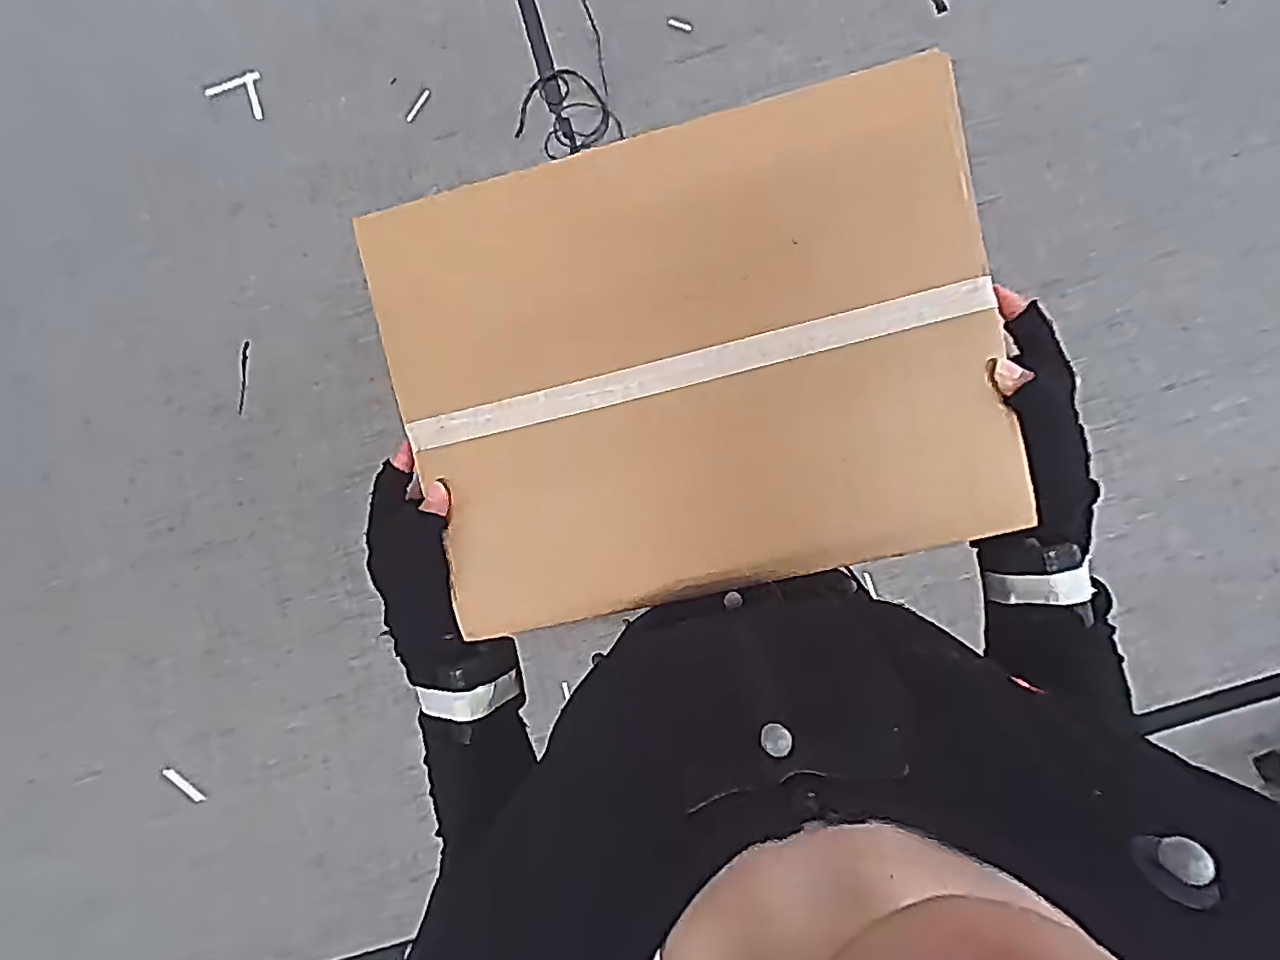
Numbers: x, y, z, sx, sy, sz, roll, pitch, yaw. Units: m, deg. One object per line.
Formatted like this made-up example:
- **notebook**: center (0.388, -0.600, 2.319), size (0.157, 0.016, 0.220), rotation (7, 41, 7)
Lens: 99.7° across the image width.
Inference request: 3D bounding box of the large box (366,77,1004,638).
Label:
- **large box**: center (0.039, -0.086, 0.530), size (0.408, 0.320, 0.320), rotation (-13, 93, 6)
